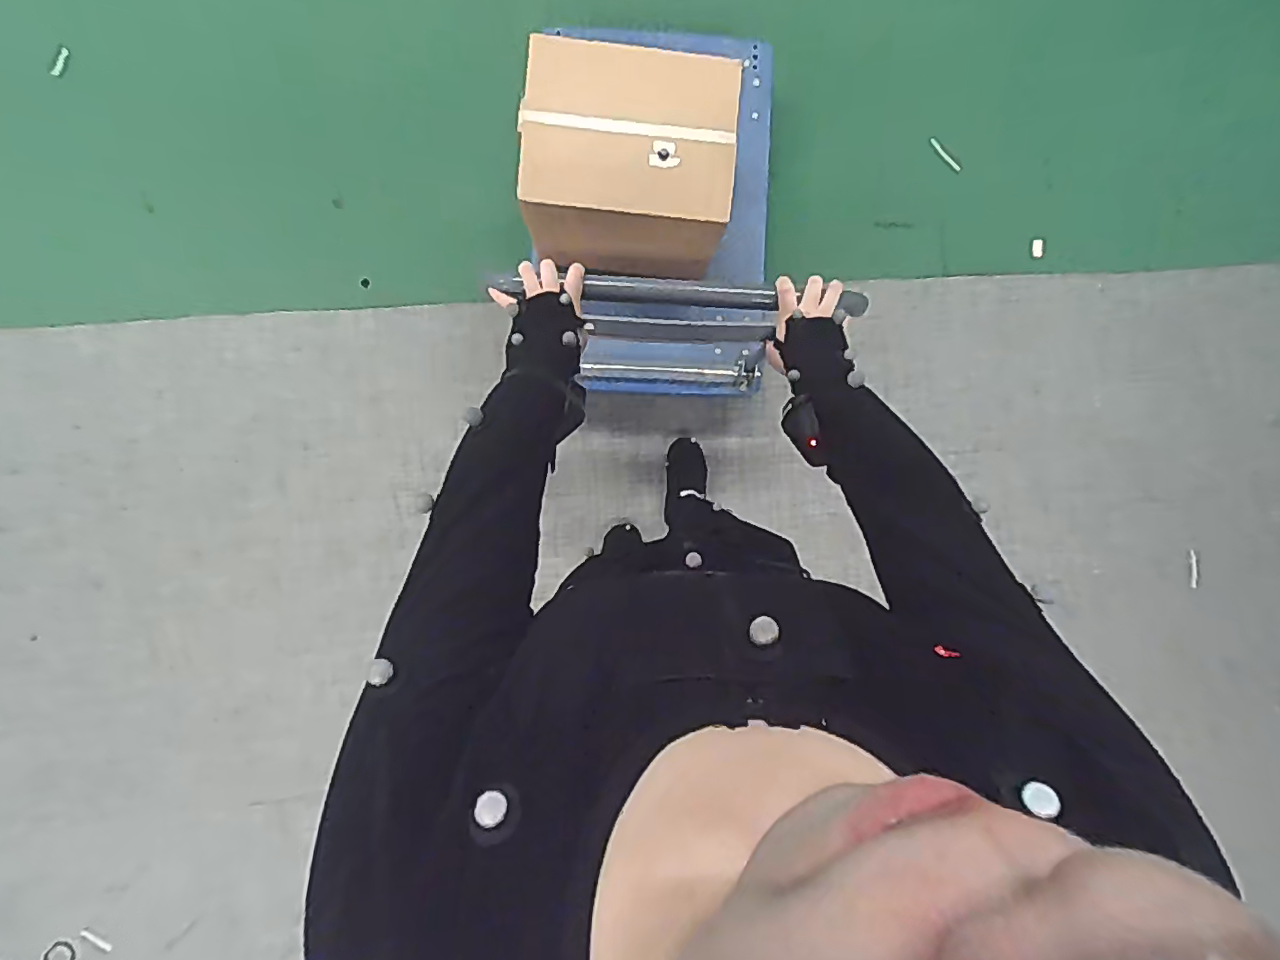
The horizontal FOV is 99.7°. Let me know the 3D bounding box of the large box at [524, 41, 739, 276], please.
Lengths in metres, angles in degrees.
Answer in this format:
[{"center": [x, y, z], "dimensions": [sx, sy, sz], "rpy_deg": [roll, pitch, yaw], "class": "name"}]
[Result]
[{"center": [-0.025, -0.669, 1.182], "dimensions": [0.408, 0.320, 0.320], "rpy_deg": [5, 90, -3], "class": "large box"}]
